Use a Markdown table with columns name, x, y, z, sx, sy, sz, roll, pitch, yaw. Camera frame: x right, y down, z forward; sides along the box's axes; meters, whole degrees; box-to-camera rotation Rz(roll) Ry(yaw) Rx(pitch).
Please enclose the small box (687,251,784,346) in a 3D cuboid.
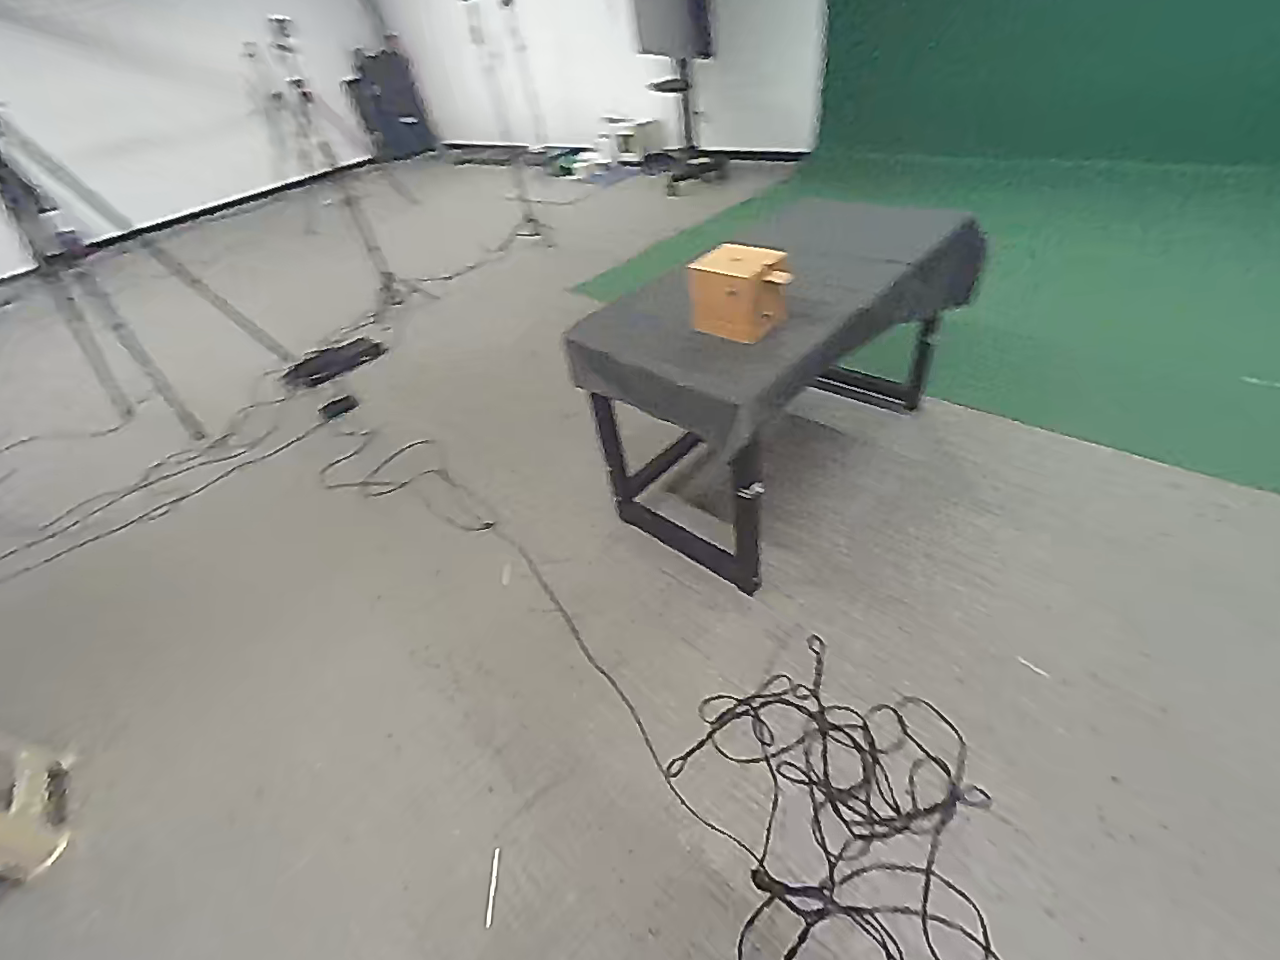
| name | x | y | z | sx | sy | sz | roll | pitch | yaw |
| --- | --- | --- | --- | --- | --- | --- | --- | --- | --- |
| small box | 0.239 | -0.452 | 1.347 | 0.179 | 0.176 | 0.168 | 26 | 53 | 35 |
